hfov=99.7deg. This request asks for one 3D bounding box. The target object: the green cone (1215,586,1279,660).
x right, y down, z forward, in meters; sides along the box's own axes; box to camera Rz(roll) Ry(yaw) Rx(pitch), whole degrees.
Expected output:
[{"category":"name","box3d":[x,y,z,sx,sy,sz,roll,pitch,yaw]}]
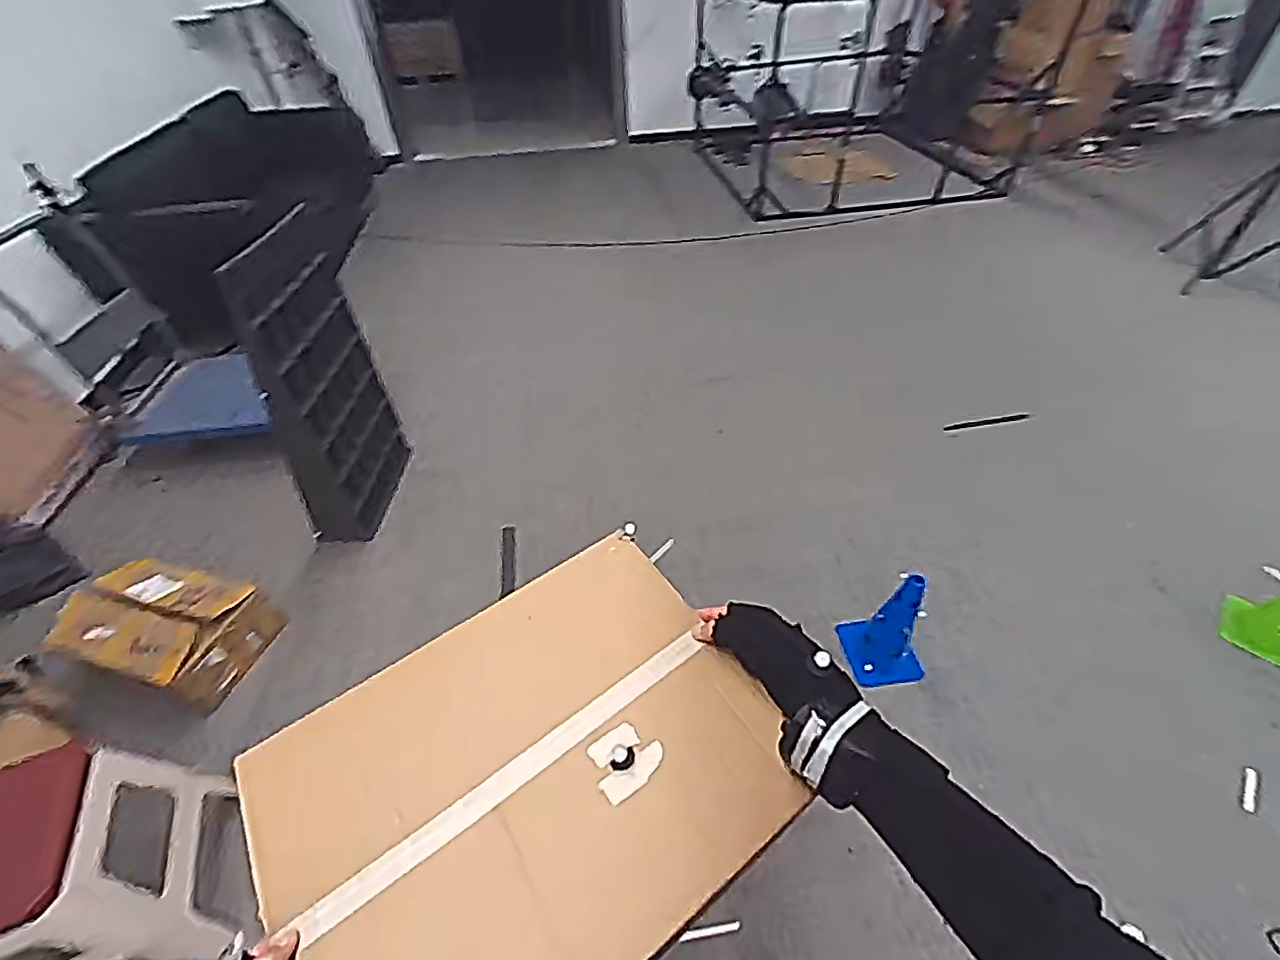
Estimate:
[{"category":"green cone","box3d":[1.809,0.304,1.460,0.202,0.368,0.200,31,53,31]}]

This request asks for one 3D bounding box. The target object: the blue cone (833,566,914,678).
[{"category":"blue cone","box3d":[0.679,0.370,1.476,0.193,0.380,0.192,-6,44,-3]}]
